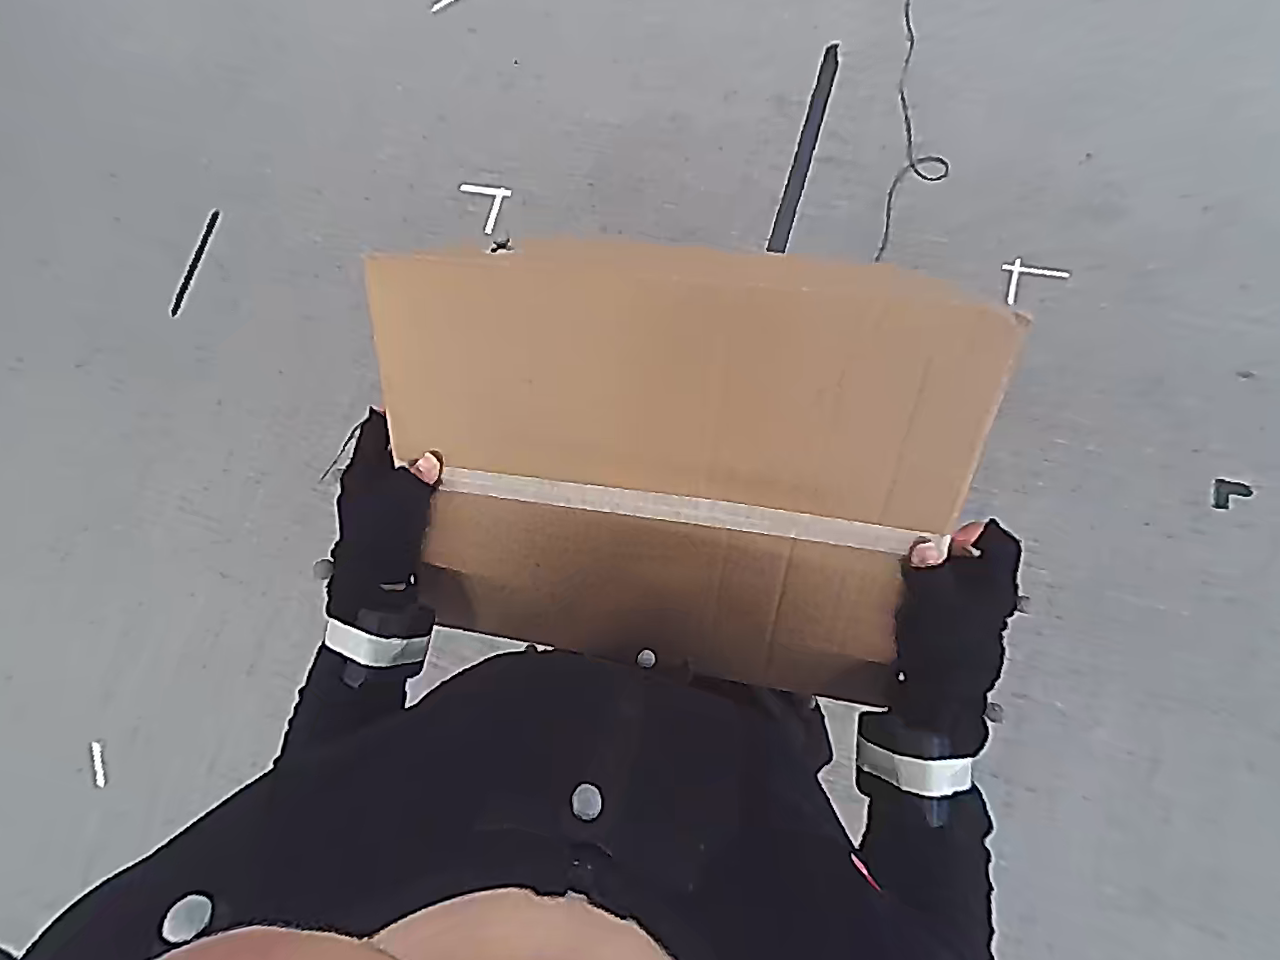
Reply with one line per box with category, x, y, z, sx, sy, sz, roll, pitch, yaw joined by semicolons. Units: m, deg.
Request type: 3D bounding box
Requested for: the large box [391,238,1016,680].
large box;0.041;-0.059;0.536;0.408;0.320;0.320;8;118;8
